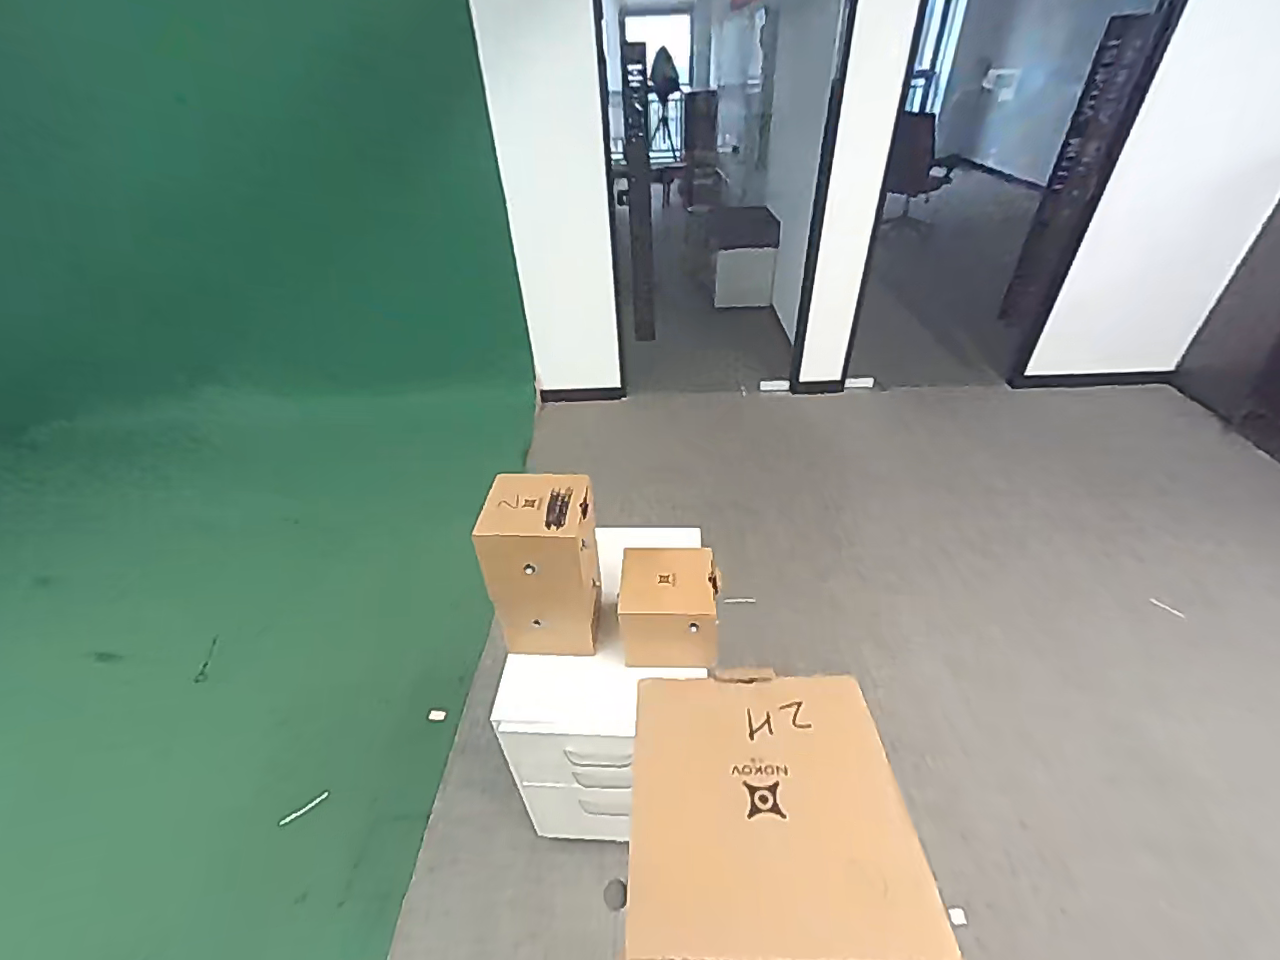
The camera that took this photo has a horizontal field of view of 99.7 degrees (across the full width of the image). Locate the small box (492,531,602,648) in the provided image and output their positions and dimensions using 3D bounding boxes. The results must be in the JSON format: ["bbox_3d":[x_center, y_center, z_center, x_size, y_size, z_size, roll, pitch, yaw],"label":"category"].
[{"bbox_3d":[-0.177,0.220,1.085,0.179,0.176,0.168,0,40,3],"label":"small box"}]

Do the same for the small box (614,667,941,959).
[{"bbox_3d":[0.077,0.257,0.379,0.168,0.176,0.179,-1,30,4],"label":"small box"}]
